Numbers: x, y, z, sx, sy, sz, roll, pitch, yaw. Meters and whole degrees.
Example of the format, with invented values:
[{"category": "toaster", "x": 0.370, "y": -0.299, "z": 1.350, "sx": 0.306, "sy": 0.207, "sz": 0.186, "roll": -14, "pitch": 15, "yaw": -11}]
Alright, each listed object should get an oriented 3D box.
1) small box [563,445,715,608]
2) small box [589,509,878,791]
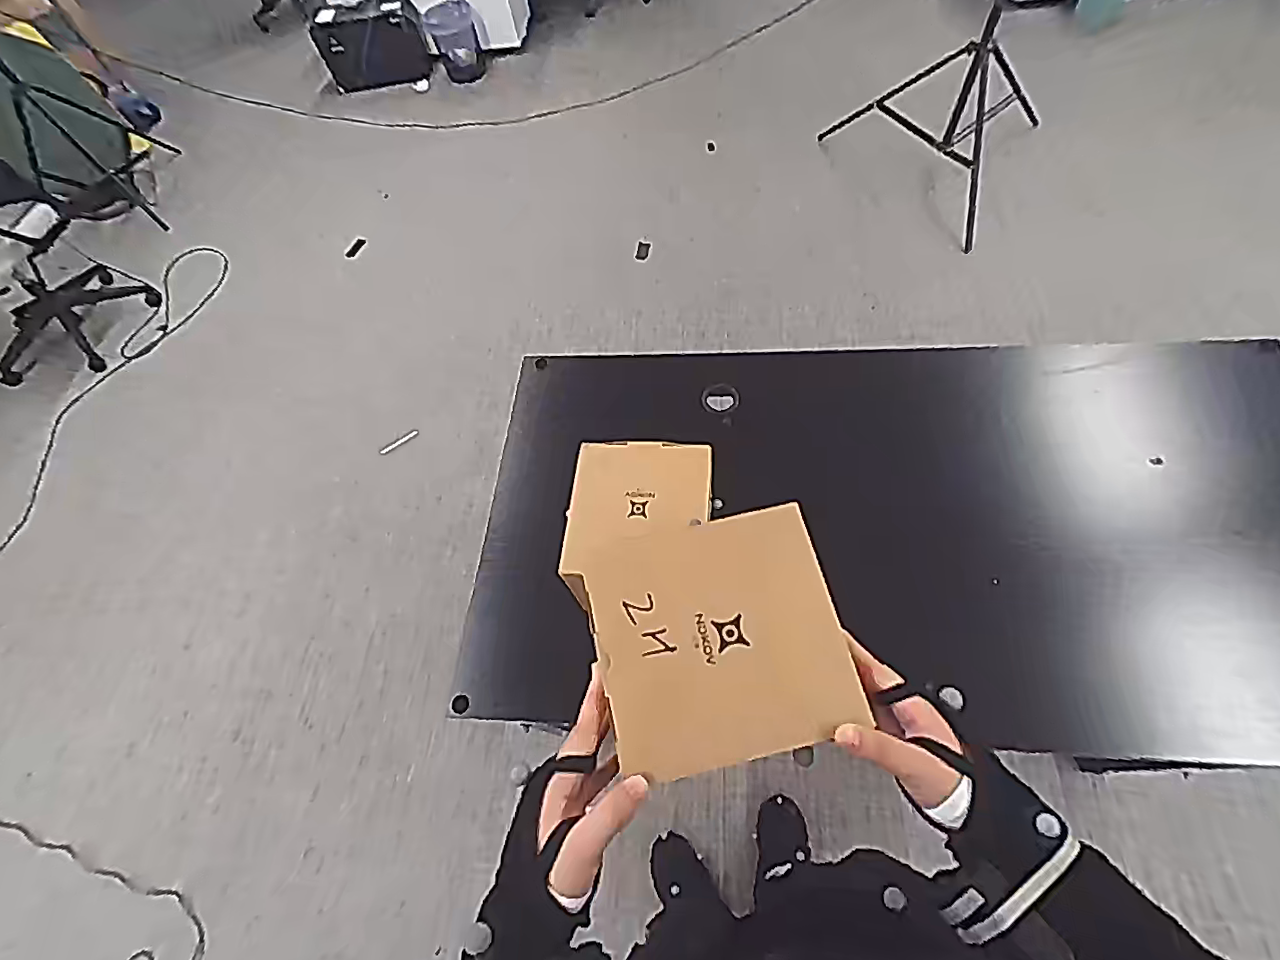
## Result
[{"category": "small box", "x": 0.011, "y": 0.072, "z": 0.699, "sx": 0.168, "sy": 0.176, "sz": 0.179, "roll": 1, "pitch": 62, "yaw": 9}, {"category": "small box", "x": 0.063, "y": 0.140, "z": 0.460, "sx": 0.179, "sy": 0.176, "sz": 0.168, "roll": -13, "pitch": 69, "yaw": -3}]
